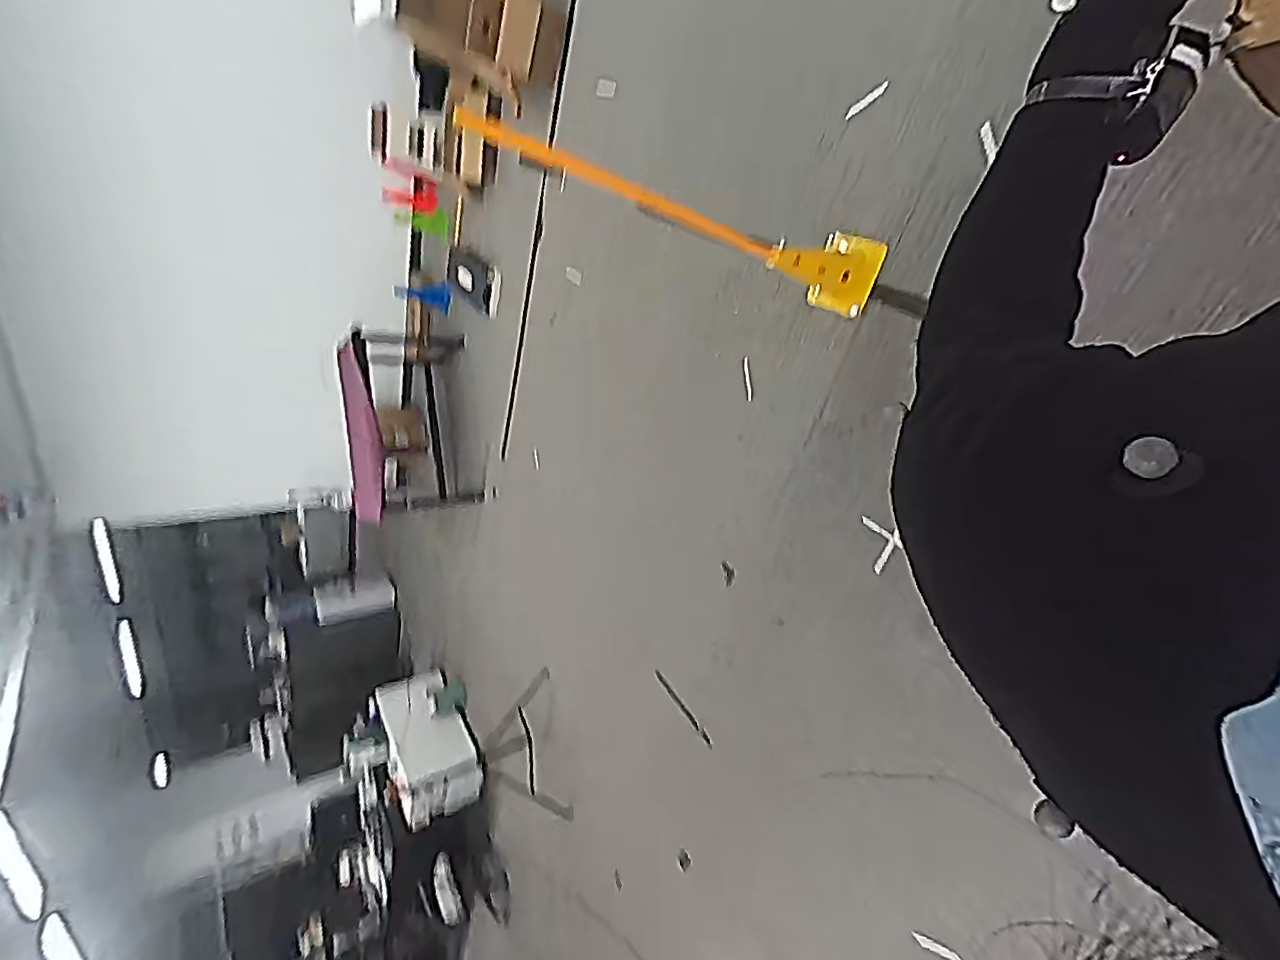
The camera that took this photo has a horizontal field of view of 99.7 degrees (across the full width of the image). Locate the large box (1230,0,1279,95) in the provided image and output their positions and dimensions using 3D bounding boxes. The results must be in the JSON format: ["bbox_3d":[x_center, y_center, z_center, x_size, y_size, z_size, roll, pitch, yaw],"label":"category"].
[{"bbox_3d":[0.624,-0.429,0.248,0.408,0.320,0.320,18,117,52],"label":"large box"}]
